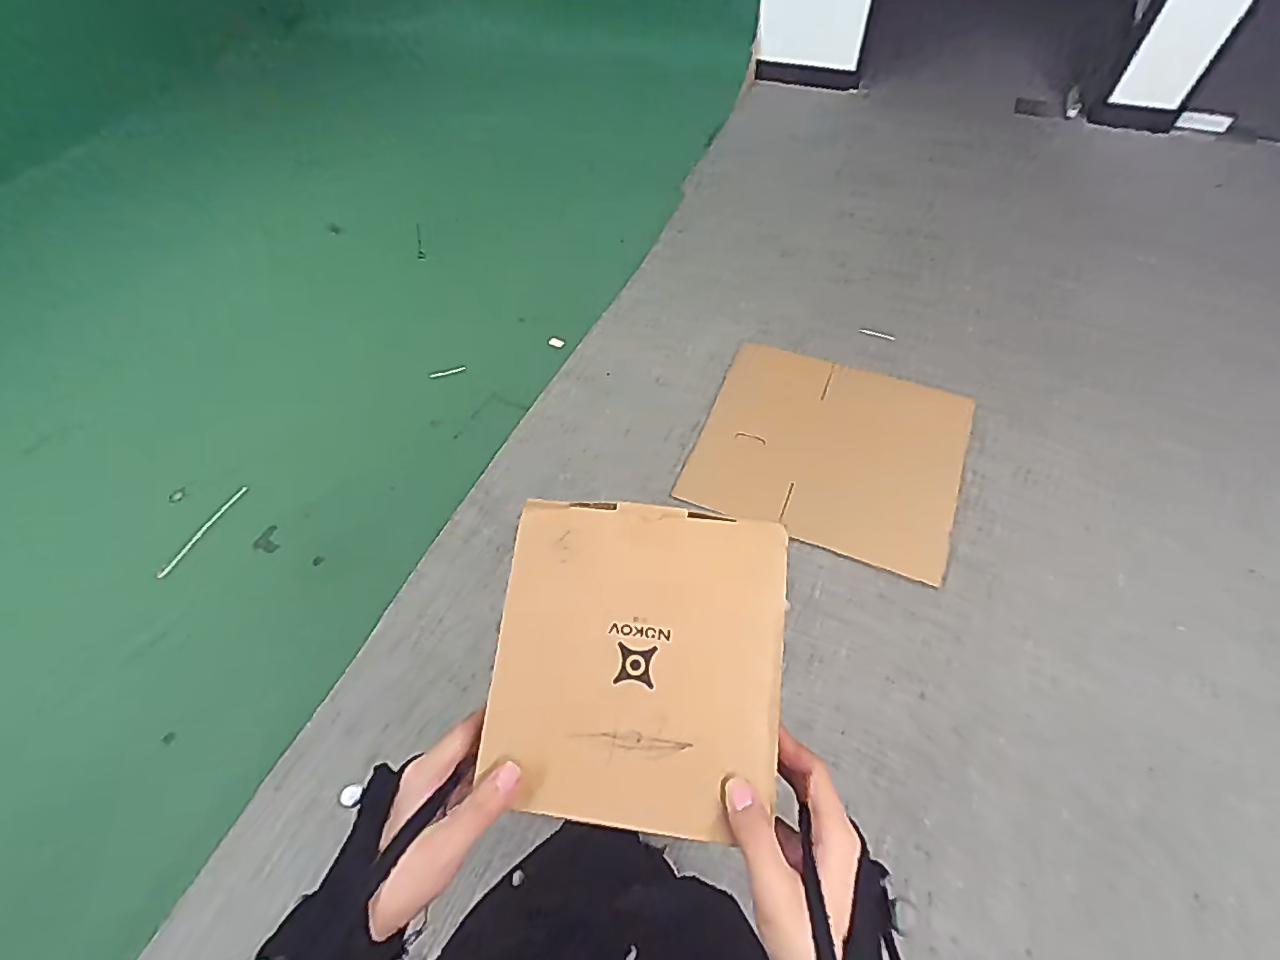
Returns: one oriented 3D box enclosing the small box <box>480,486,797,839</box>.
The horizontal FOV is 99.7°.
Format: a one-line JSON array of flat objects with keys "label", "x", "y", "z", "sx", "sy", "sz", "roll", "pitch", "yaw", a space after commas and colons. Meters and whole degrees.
[{"label": "small box", "x": 0.008, "y": 0.116, "z": 0.387, "sx": 0.168, "sy": 0.176, "sz": 0.179, "roll": 6, "pitch": 76, "yaw": 7}]
